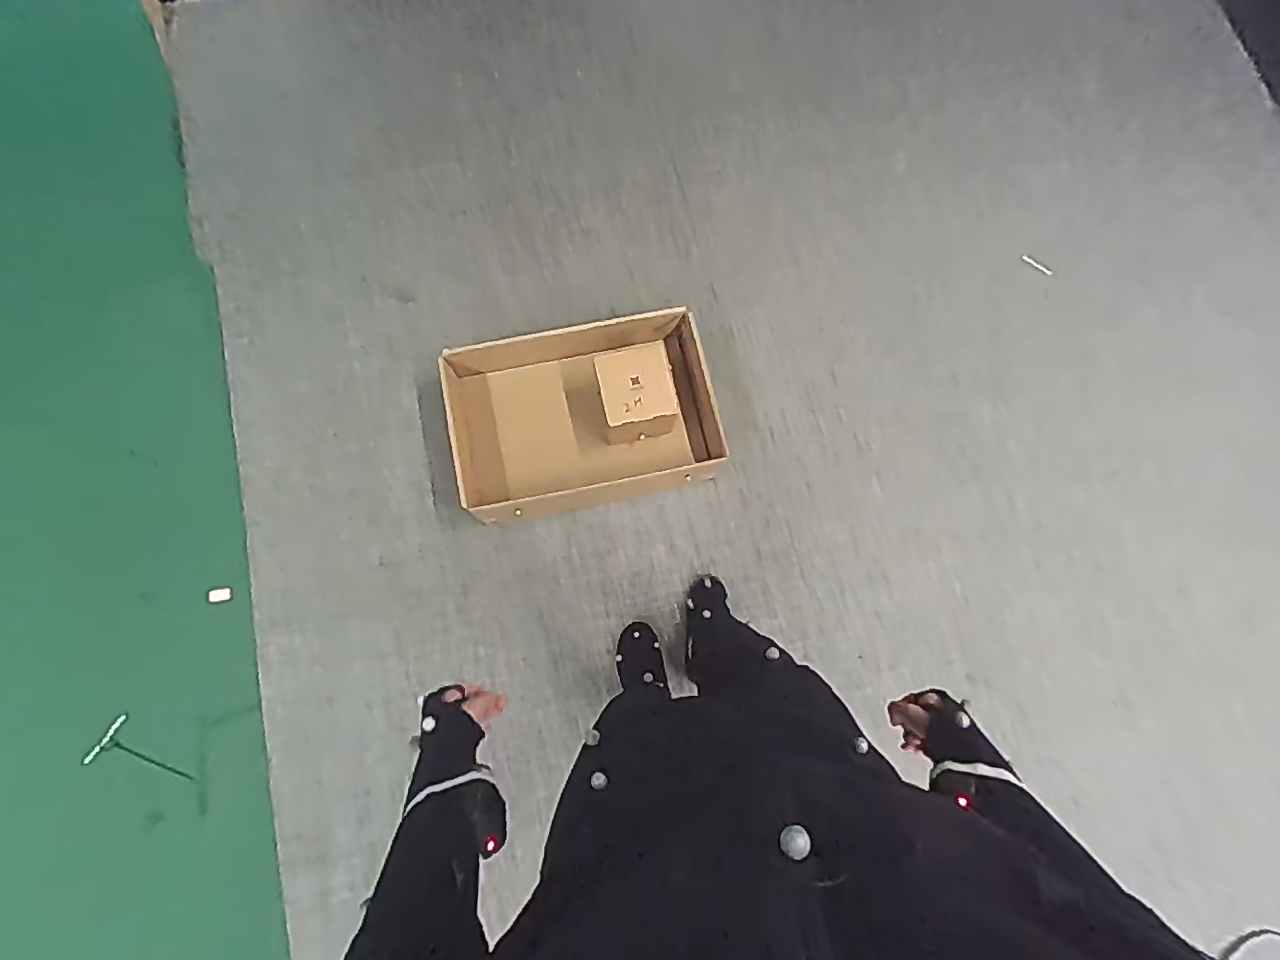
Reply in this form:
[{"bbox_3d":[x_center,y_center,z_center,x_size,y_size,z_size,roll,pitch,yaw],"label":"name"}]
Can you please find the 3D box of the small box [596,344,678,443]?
[{"bbox_3d":[-0.012,-0.207,1.326,0.168,0.176,0.179,-12,80,-4],"label":"small box"}]
